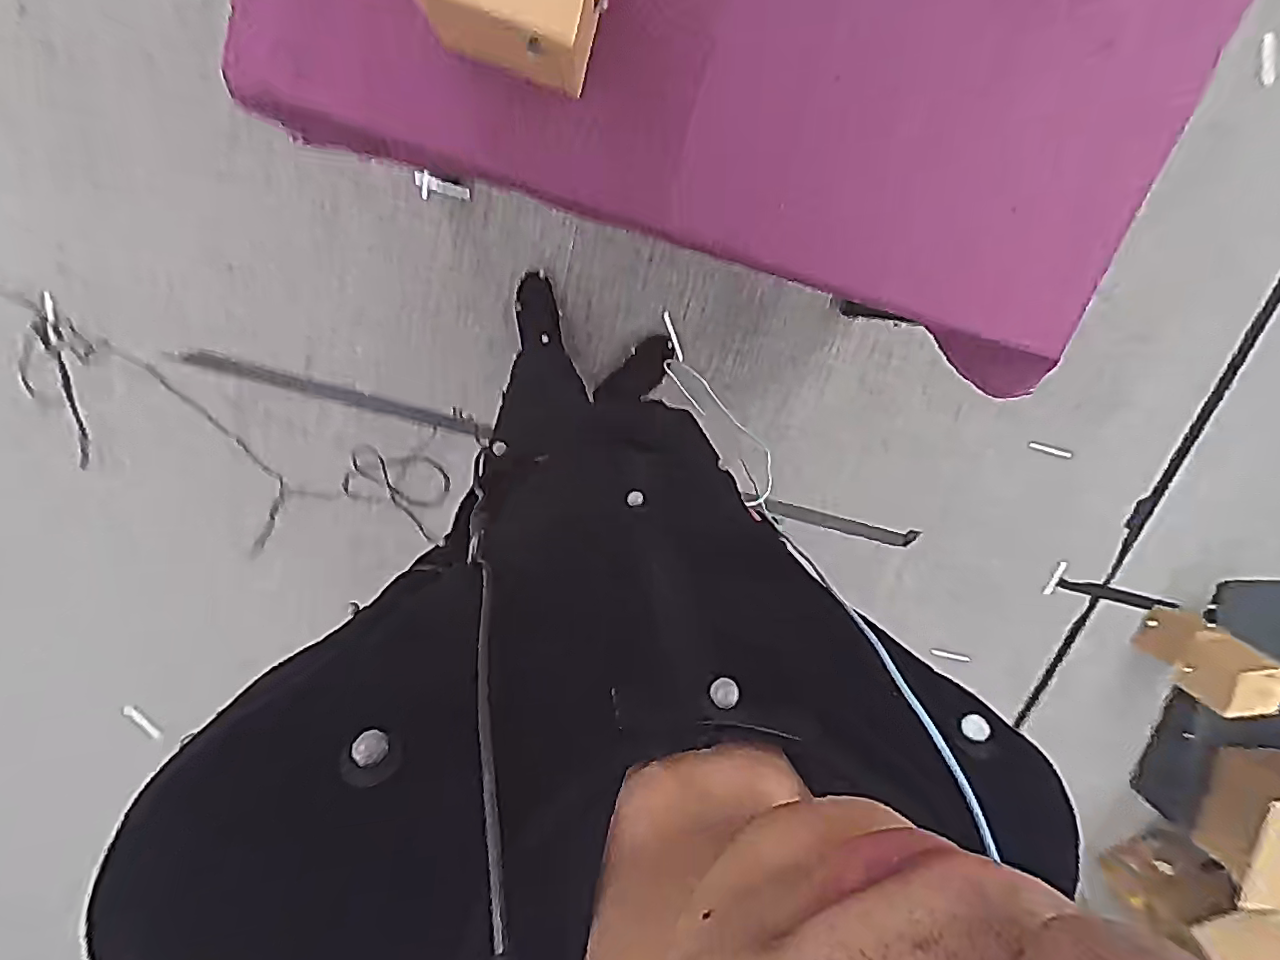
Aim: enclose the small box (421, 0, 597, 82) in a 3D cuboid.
[{"bbox_3d":[-0.130,-0.564,0.577,0.179,0.176,0.168,16,108,-10],"label":"small box"}]
